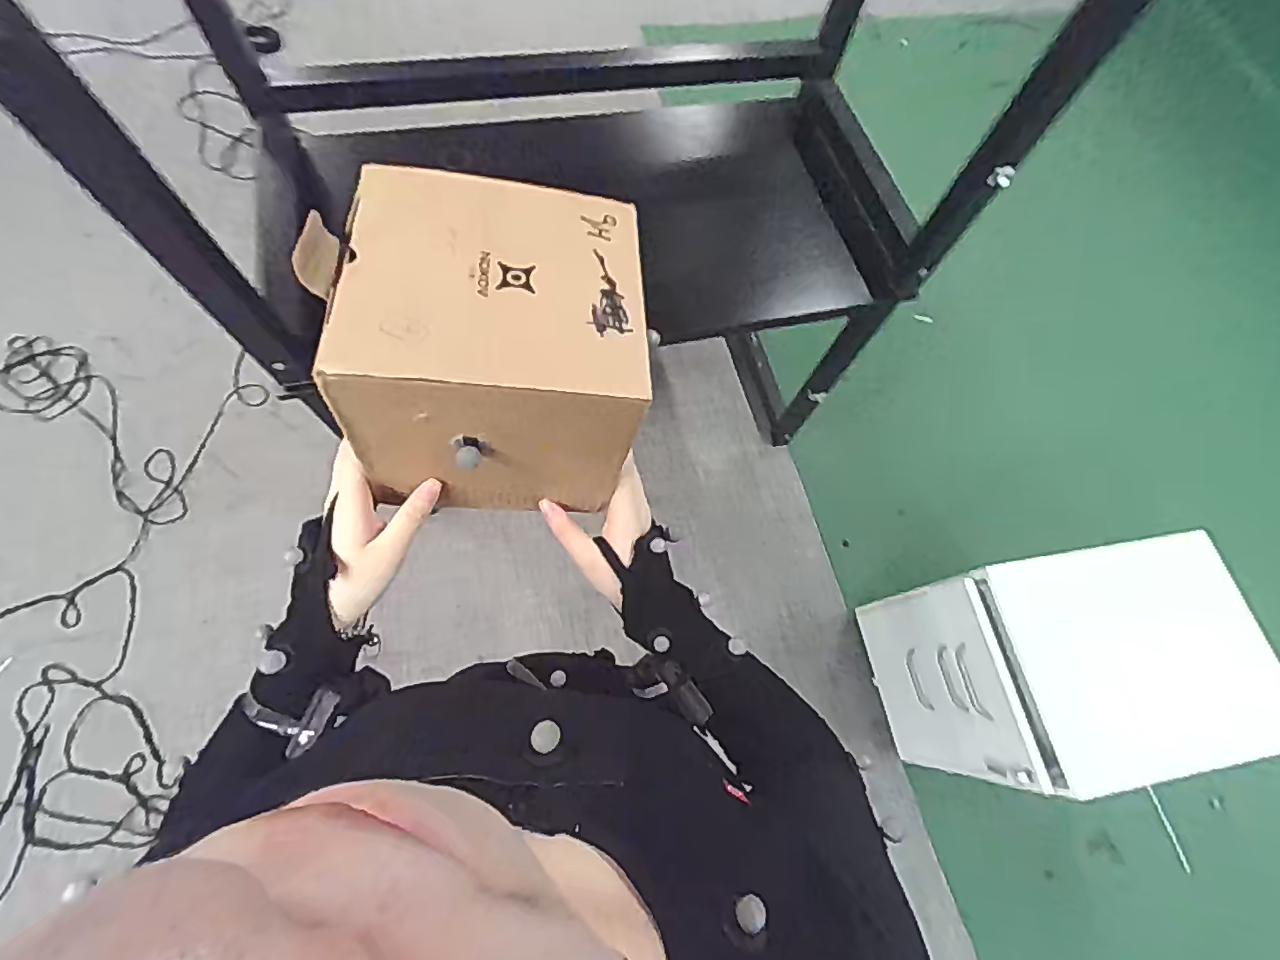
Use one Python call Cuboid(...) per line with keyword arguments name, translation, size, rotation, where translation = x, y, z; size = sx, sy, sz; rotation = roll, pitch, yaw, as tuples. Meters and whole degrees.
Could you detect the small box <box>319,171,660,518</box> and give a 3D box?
Cuboid(name="small box", translation=(-0.093, -0.079, 0.385), size=(0.179, 0.176, 0.168), rotation=(3, 64, -12))
